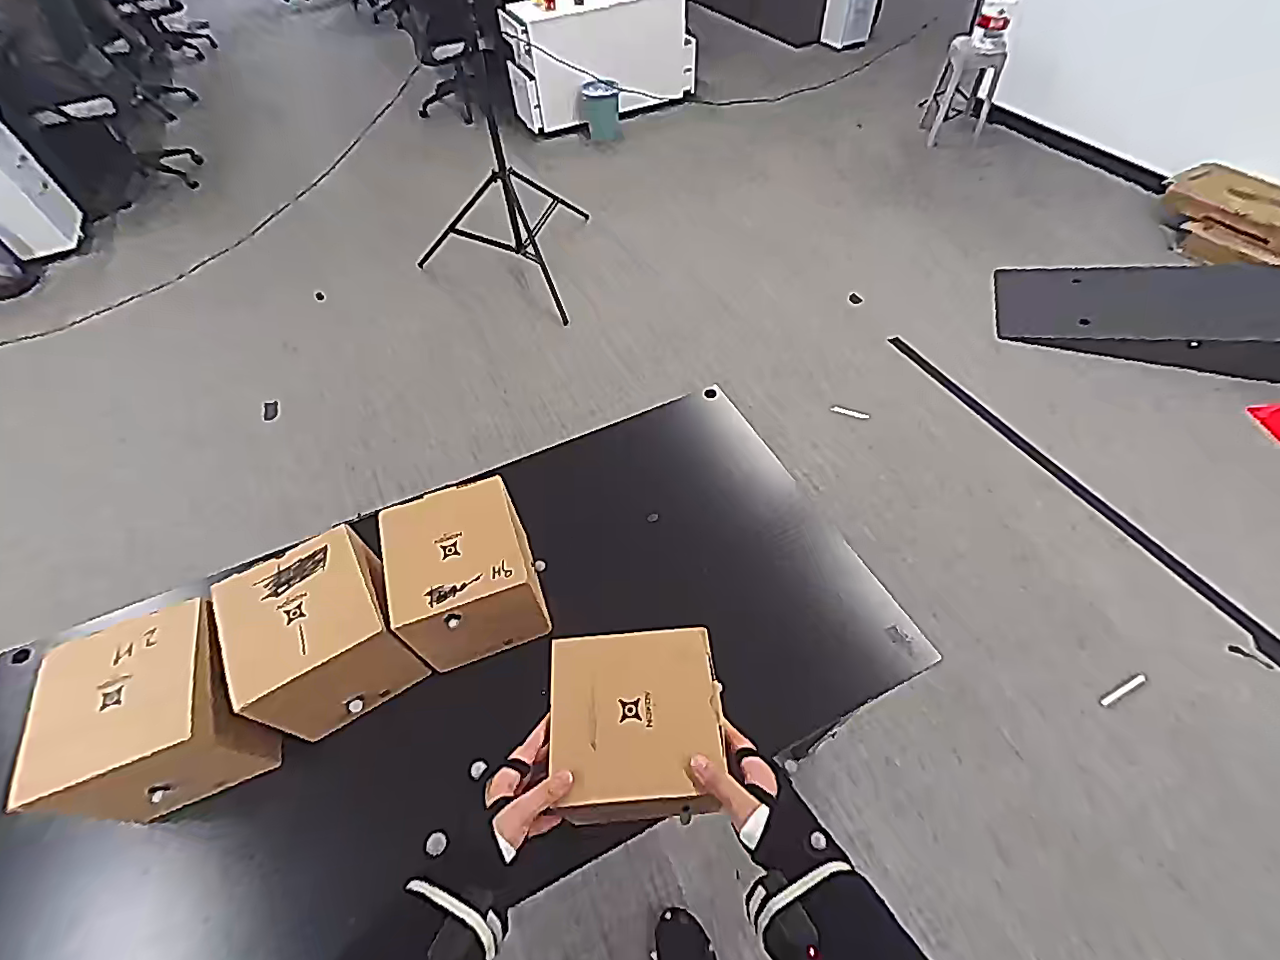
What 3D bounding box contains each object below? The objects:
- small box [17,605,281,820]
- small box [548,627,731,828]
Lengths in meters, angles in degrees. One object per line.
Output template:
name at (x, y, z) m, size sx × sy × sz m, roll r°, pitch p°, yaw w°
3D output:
small box at (-0.565, 0.287, 0.656) m, size 0.168 × 0.176 × 0.179 m, roll -20°, pitch 54°, yaw -12°
small box at (-0.002, 0.286, 0.620) m, size 0.179 × 0.176 × 0.168 m, roll -7°, pitch 51°, yaw 0°
